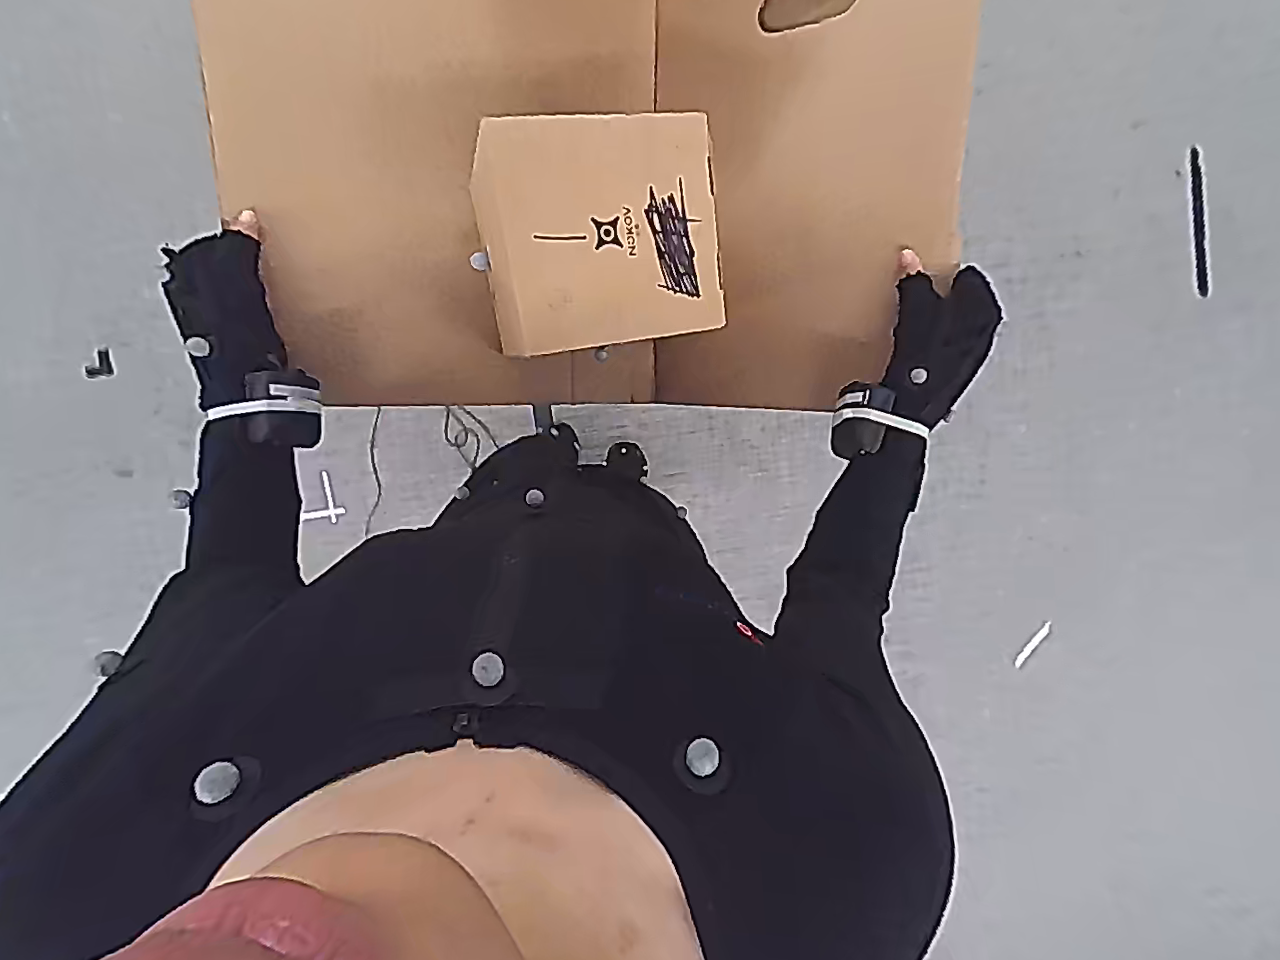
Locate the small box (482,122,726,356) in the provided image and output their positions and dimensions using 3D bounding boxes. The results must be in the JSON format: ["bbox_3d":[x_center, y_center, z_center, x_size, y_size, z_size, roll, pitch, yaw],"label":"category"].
[{"bbox_3d":[-0.040,-0.210,0.505,0.179,0.176,0.168,-12,106,-17],"label":"small box"}]
